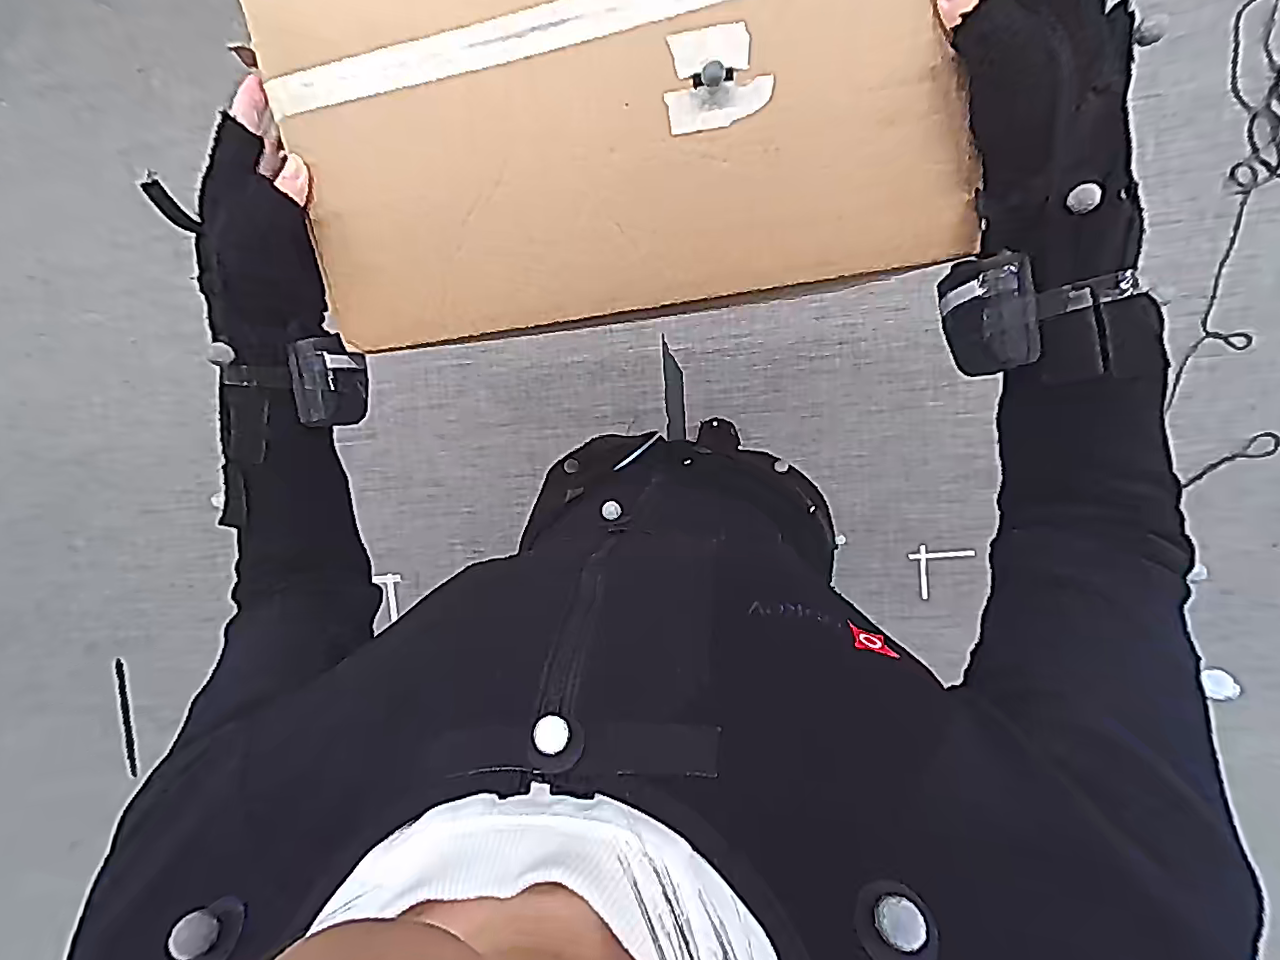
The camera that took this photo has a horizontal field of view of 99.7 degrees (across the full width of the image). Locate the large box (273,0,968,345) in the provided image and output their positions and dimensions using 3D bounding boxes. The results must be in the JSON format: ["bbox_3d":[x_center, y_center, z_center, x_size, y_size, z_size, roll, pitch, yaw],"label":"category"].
[{"bbox_3d":[-0.007,-0.307,0.455,0.408,0.320,0.320,-6,106,10],"label":"large box"}]
